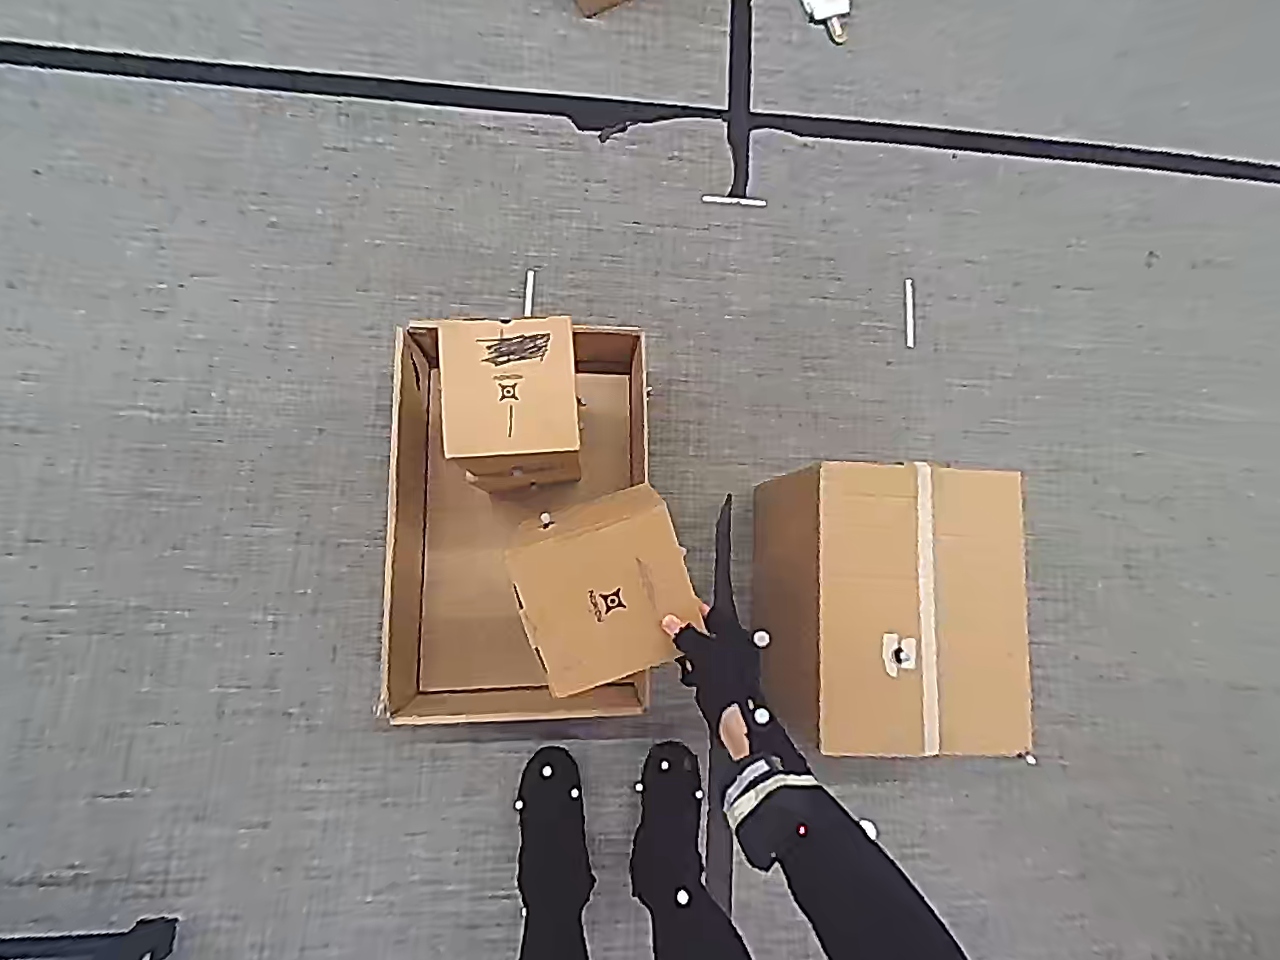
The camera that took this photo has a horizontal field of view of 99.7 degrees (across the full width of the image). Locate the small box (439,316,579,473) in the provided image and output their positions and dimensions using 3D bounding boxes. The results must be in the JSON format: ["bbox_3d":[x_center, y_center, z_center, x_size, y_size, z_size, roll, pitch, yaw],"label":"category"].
[{"bbox_3d":[-0.171,-0.109,0.746,0.168,0.176,0.179,-4,85,-6],"label":"small box"}]

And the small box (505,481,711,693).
[{"bbox_3d":[-0.037,0.109,0.628,0.179,0.176,0.168,-18,99,-3],"label":"small box"}]

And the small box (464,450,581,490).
[{"bbox_3d":[-0.197,-0.079,0.907,0.179,0.176,0.168,-8,84,-7],"label":"small box"}]

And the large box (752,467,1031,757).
[{"bbox_3d":[0.384,0.196,0.910,0.320,0.320,0.408,3,83,-5],"label":"large box"}]
